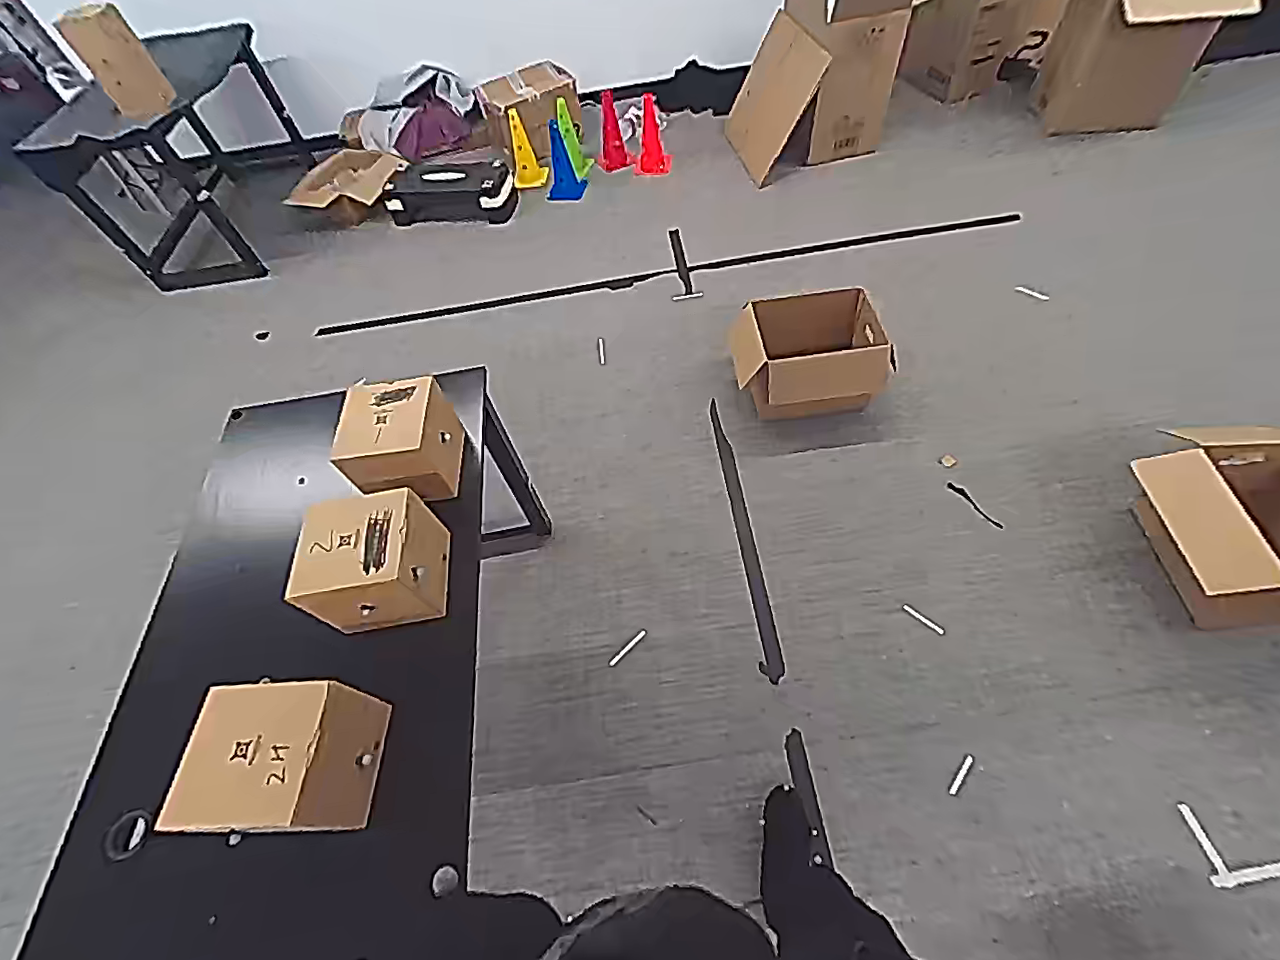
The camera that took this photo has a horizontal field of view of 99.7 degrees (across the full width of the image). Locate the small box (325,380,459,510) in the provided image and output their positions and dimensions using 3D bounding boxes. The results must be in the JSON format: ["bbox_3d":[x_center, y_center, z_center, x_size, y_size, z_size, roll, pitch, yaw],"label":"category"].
[{"bbox_3d":[-0.461,-0.064,1.038,0.168,0.176,0.179,-8,57,3],"label":"small box"}]

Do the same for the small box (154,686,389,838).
[{"bbox_3d":[-0.483,0.391,0.741,0.179,0.176,0.168,-5,57,4],"label":"small box"}]
